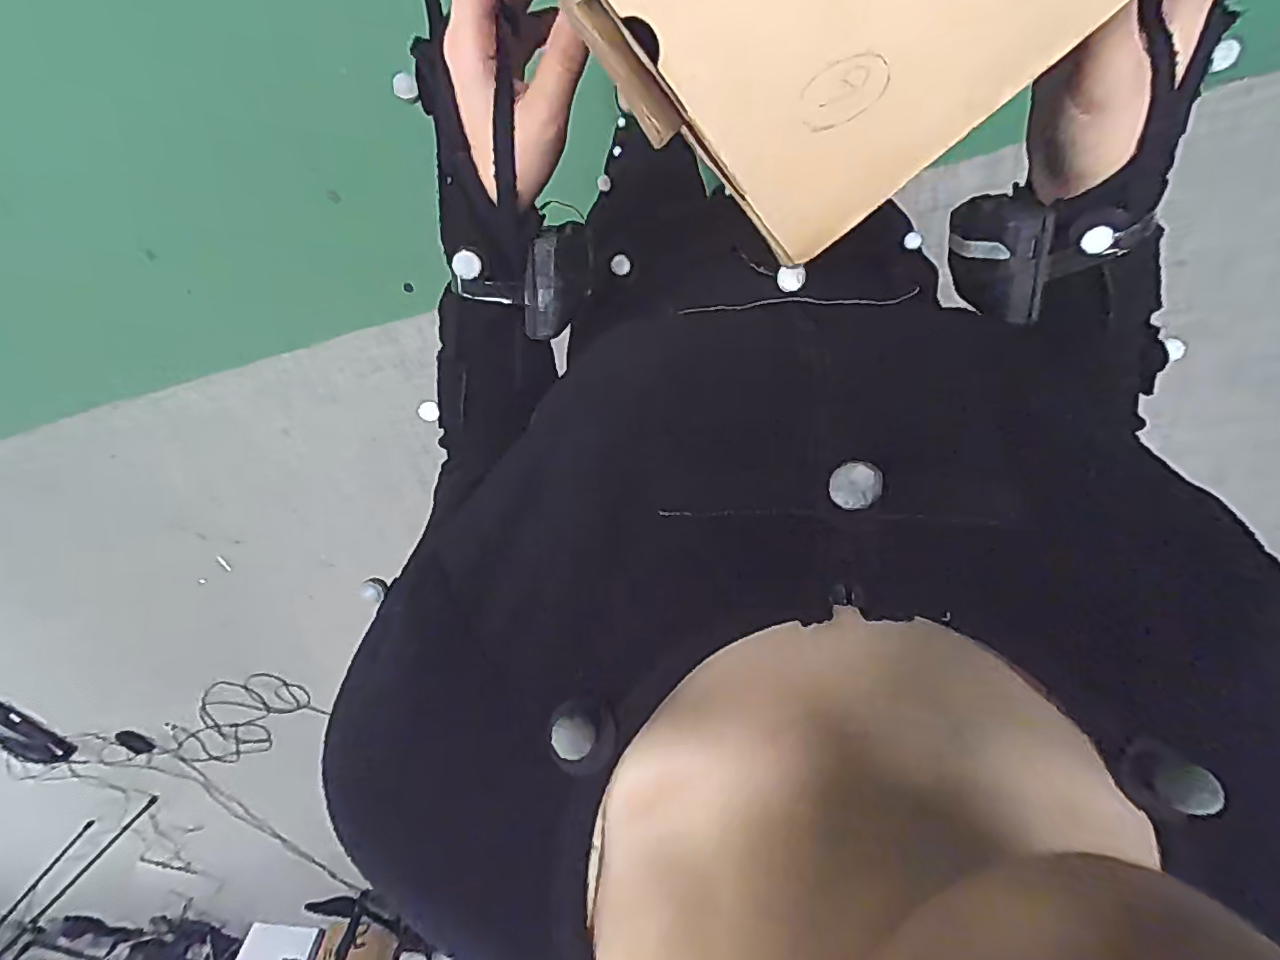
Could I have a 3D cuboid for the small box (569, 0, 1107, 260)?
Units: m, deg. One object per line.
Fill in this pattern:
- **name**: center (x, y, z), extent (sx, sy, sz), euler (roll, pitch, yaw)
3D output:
- **small box**: center (0.067, -0.220, 0.199), extent (0.179, 0.176, 0.168), euler (-36, 114, 26)
